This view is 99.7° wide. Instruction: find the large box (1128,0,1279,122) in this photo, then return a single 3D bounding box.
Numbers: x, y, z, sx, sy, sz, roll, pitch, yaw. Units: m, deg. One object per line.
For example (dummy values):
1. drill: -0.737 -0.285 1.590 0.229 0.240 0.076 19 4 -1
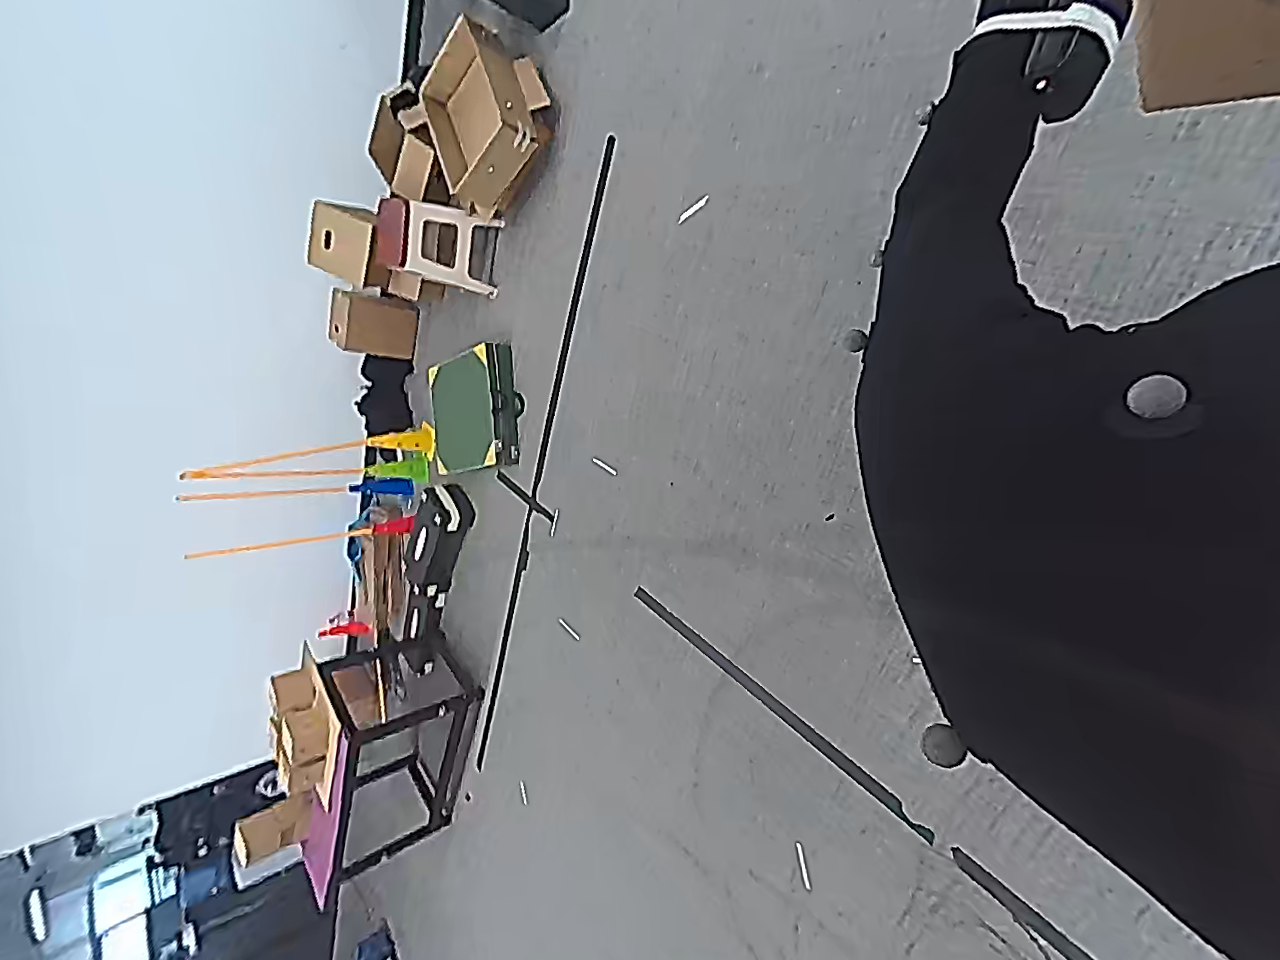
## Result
1. large box: 0.570 -0.461 0.295 0.408 0.320 0.320 20 105 40
